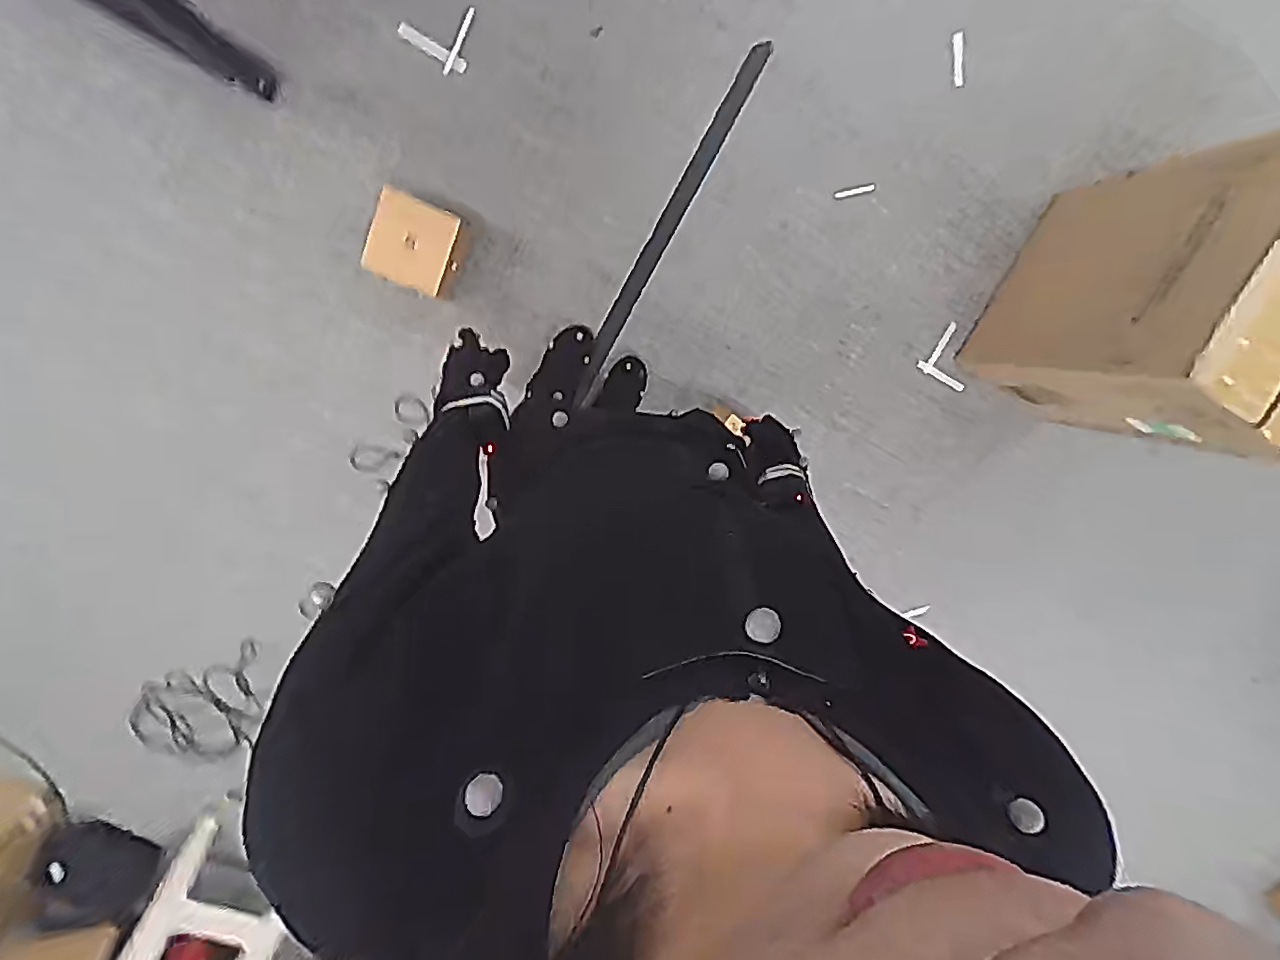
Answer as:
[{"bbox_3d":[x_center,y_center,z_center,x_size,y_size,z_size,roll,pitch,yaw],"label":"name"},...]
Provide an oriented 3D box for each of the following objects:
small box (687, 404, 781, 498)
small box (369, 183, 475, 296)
[{"bbox_3d":[0.246,-0.085,1.471,0.168,0.176,0.179,36,98,-16],"label":"small box"},{"bbox_3d":[-0.491,-0.539,1.244,0.168,0.176,0.179,20,101,-14],"label":"small box"}]
